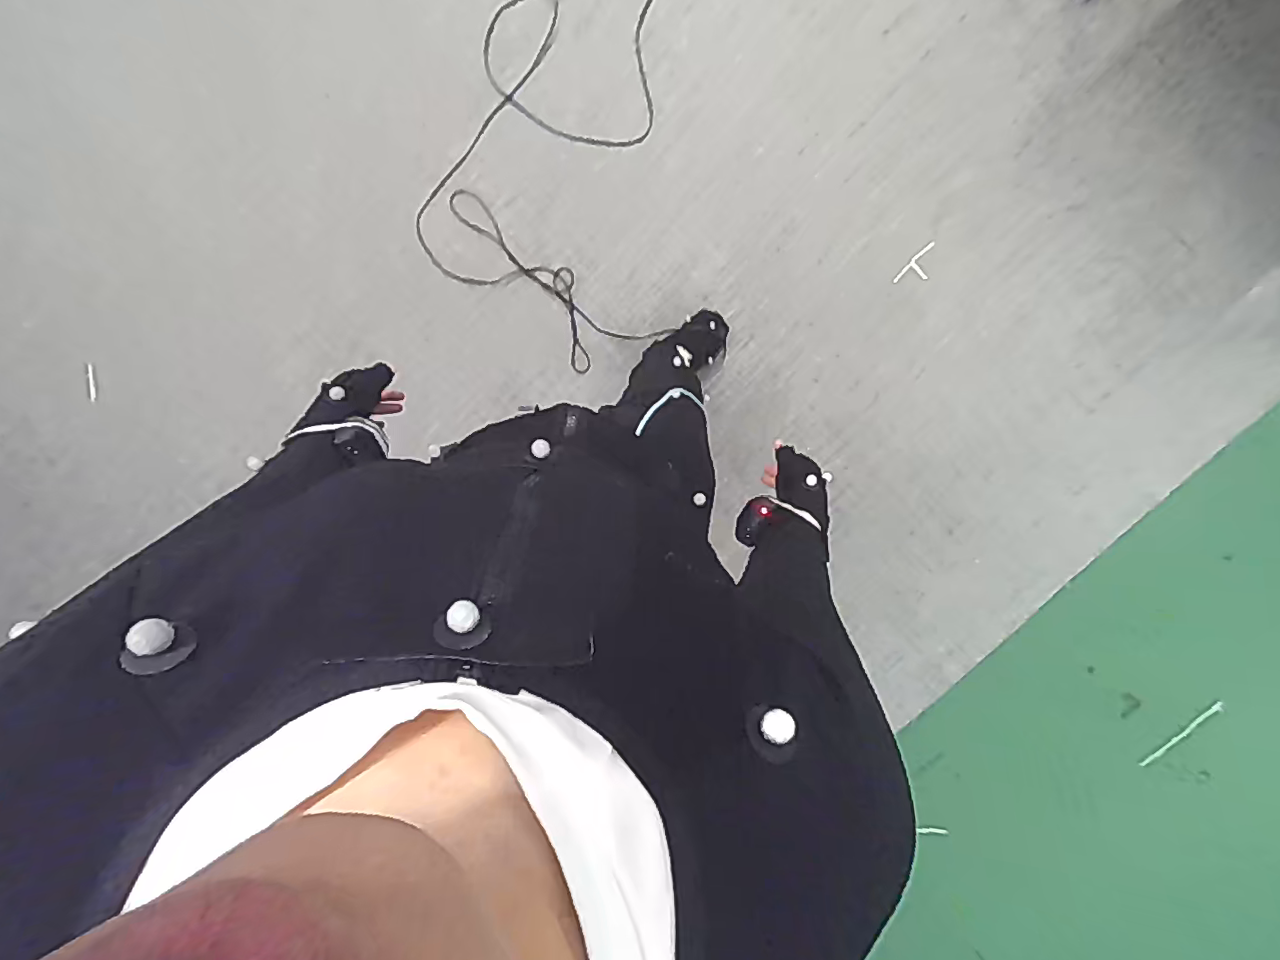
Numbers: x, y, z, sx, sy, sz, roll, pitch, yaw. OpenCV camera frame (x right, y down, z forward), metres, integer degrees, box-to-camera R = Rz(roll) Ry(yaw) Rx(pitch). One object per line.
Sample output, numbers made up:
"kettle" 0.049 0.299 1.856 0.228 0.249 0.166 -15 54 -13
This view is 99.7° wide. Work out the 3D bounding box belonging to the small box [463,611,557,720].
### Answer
"small box" -0.333 0.480 1.427 0.168 0.176 0.179 38 98 -10
